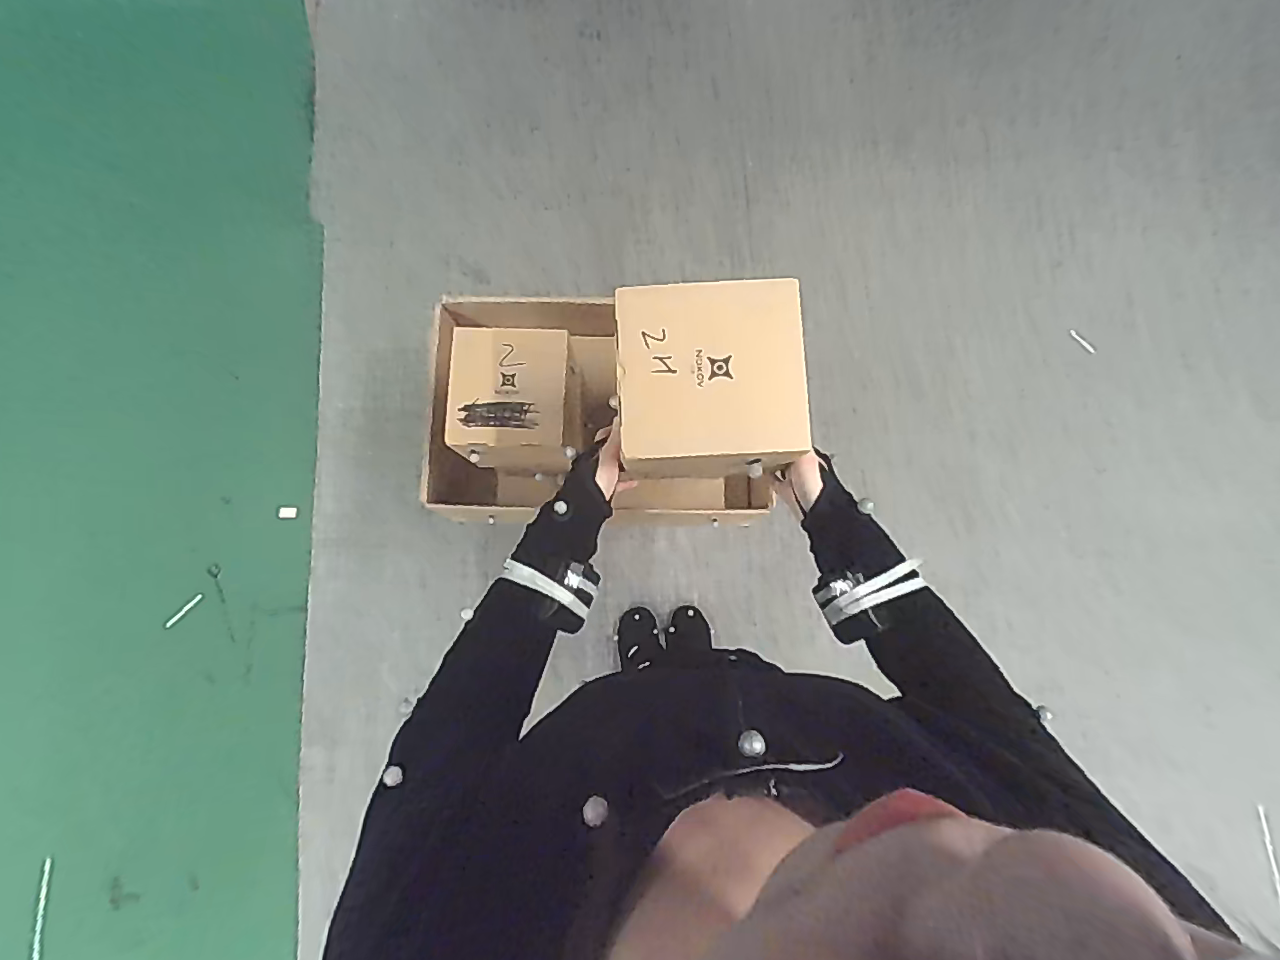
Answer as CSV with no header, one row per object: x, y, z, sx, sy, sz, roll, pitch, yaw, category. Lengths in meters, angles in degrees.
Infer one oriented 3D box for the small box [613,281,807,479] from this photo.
0.065,-0.093,0.575,0.179,0.176,0.168,-2,83,3,small box
